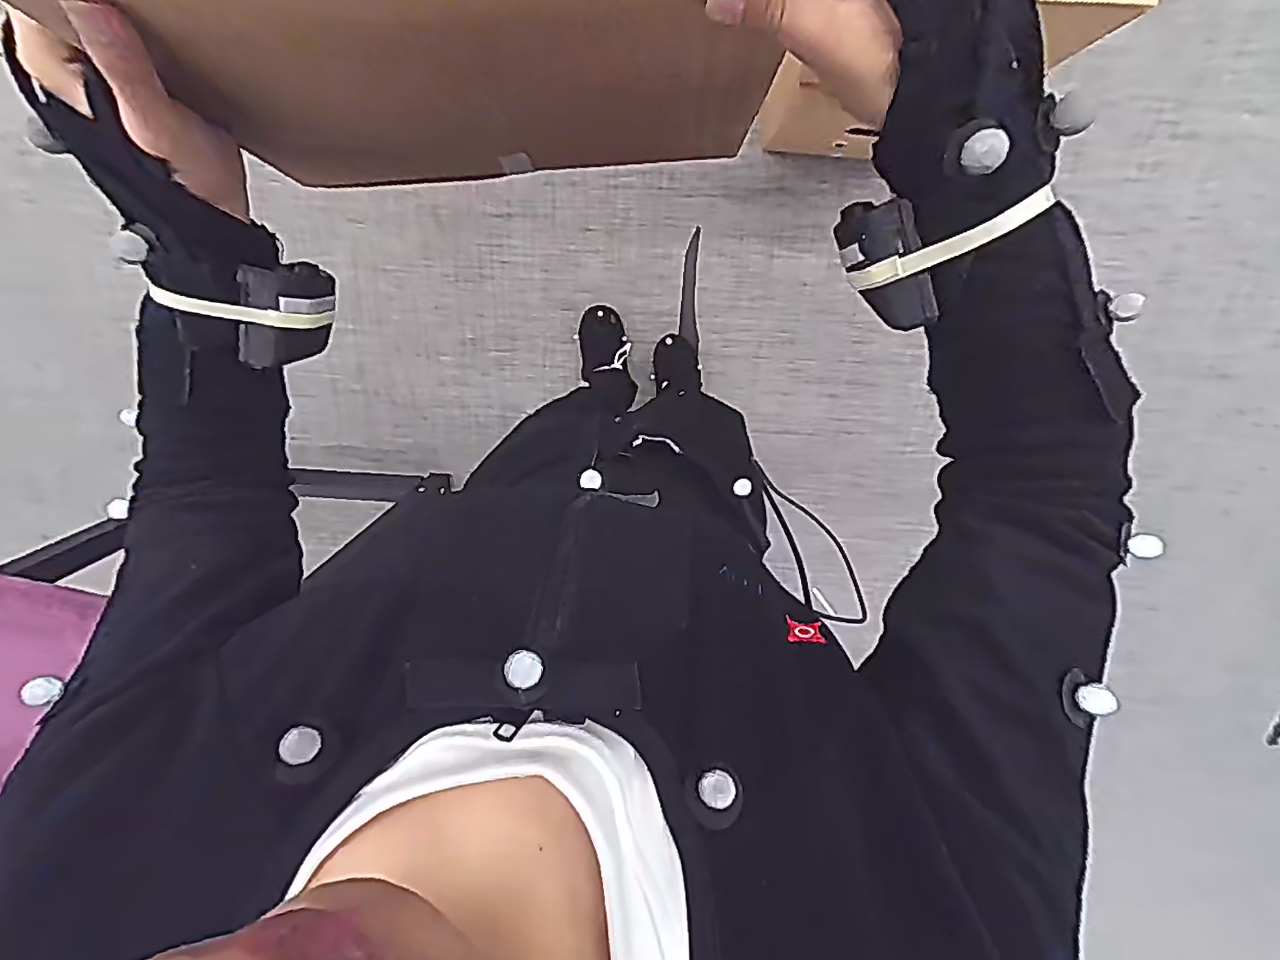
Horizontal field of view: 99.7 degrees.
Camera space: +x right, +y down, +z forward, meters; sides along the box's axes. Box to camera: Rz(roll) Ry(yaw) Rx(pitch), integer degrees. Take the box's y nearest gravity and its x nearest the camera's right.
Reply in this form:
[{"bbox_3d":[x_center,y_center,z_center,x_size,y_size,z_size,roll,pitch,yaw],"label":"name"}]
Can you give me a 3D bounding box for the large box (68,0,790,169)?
[{"bbox_3d":[-0.097,-0.398,0.200,0.320,0.320,0.408,-5,100,1],"label":"large box"}]
